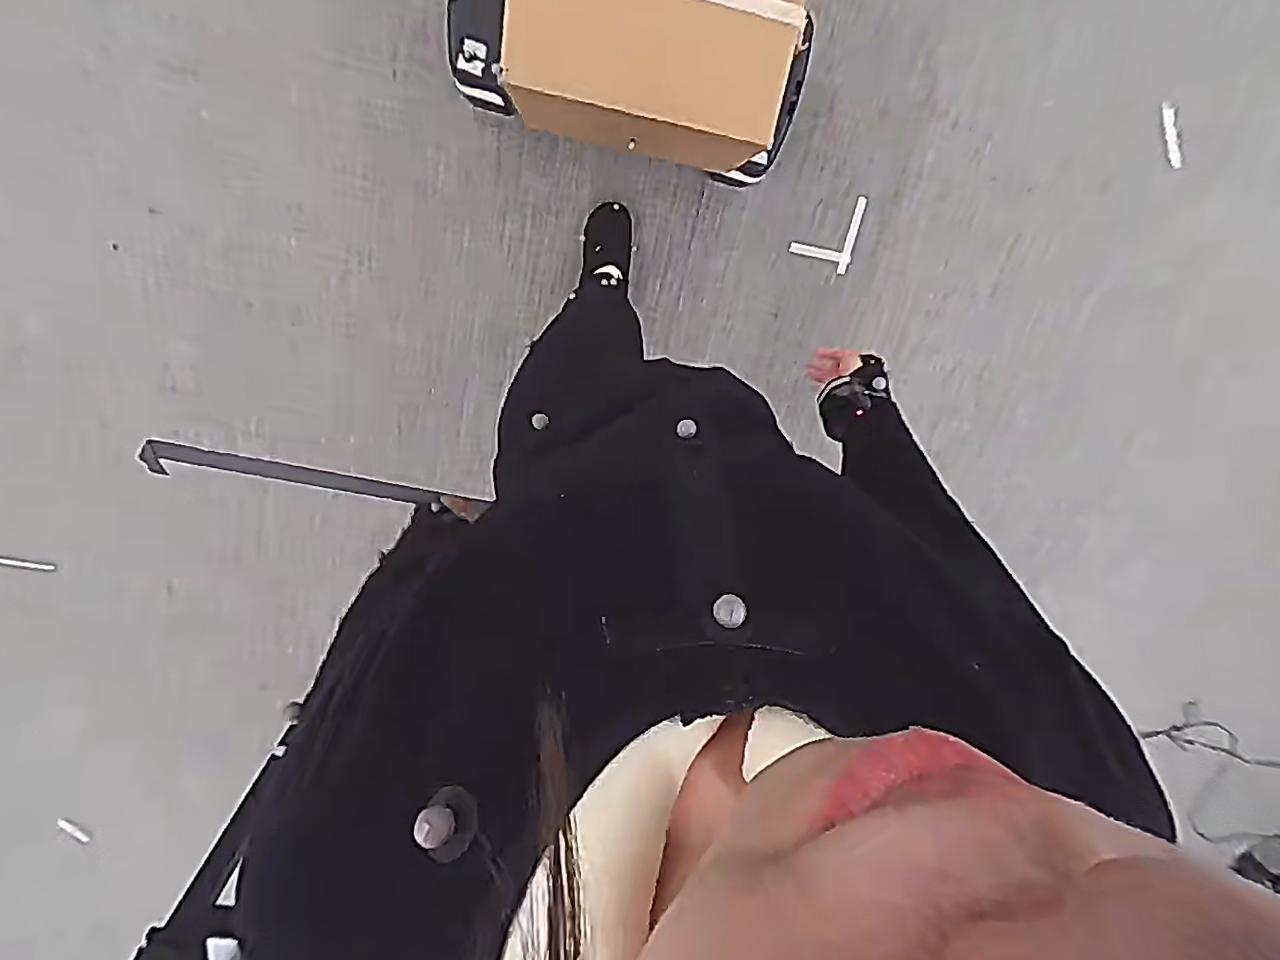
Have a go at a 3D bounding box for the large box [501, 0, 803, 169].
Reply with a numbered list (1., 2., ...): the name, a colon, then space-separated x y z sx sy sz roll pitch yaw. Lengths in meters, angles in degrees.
1. large box: 0.018 -0.720 0.859 0.408 0.320 0.320 8 111 -7
